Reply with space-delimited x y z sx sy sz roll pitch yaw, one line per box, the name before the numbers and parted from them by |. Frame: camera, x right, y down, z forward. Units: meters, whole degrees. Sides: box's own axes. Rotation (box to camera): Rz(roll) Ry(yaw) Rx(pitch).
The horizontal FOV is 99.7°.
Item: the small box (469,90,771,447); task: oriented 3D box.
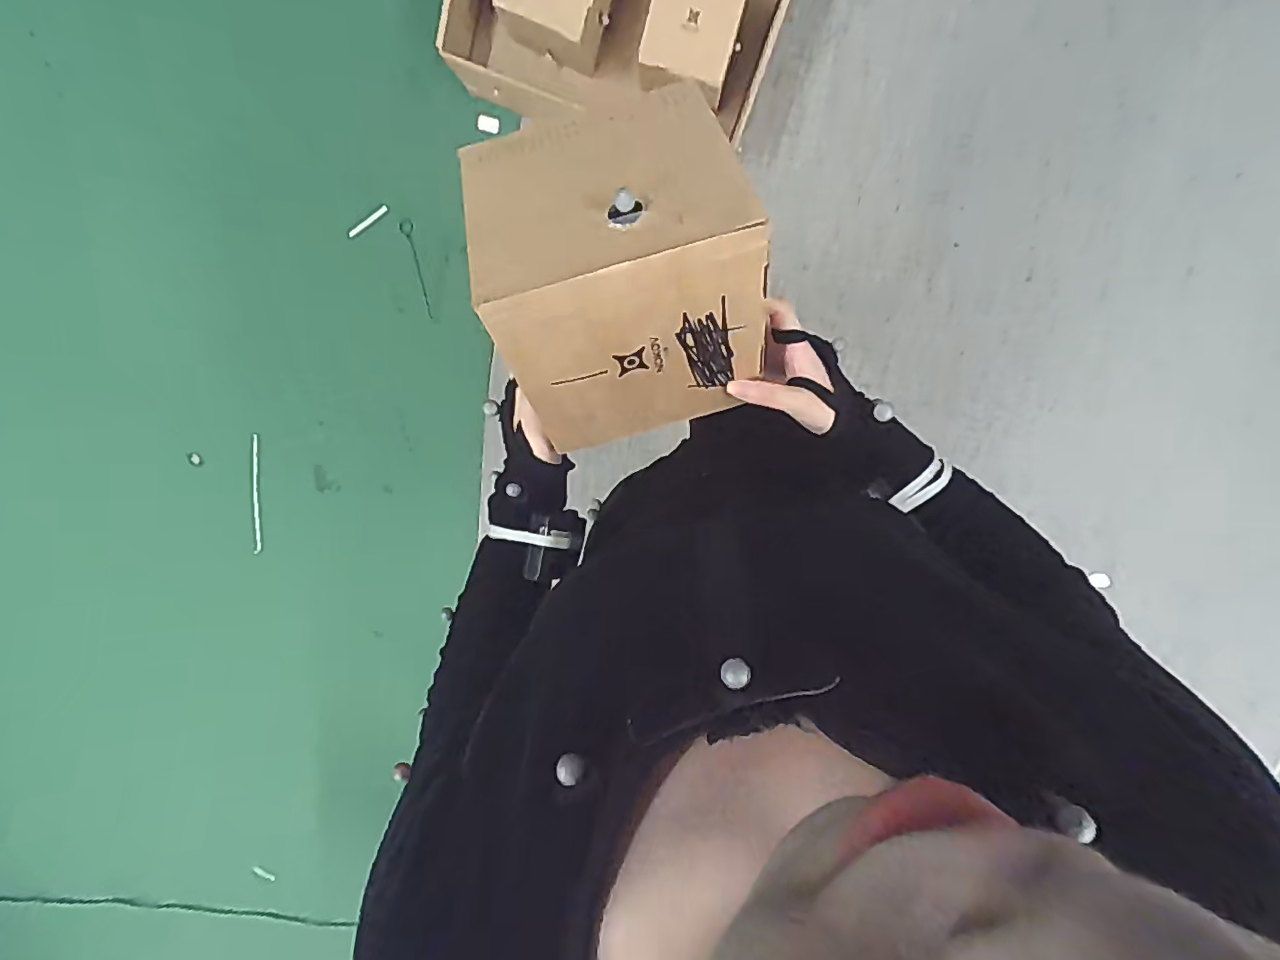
small box | -0.015 -0.156 0.412 0.179 0.176 0.168 -15 149 2
